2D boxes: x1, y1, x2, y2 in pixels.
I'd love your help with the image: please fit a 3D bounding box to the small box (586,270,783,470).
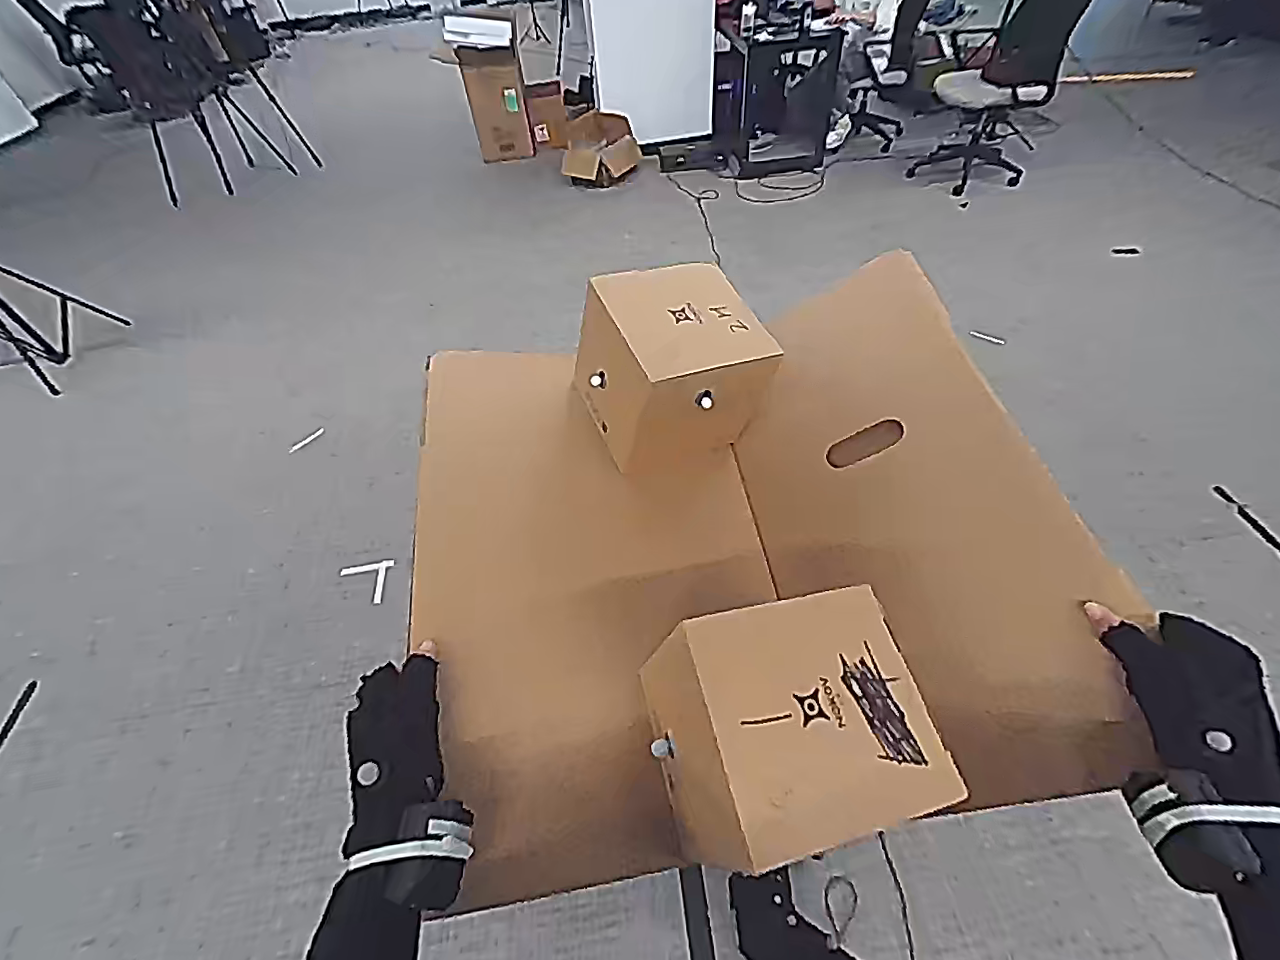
[{"bbox_3d":[0.039,-0.134,0.678,0.179,0.176,0.168,-16,62,-23],"label":"small box"}]
